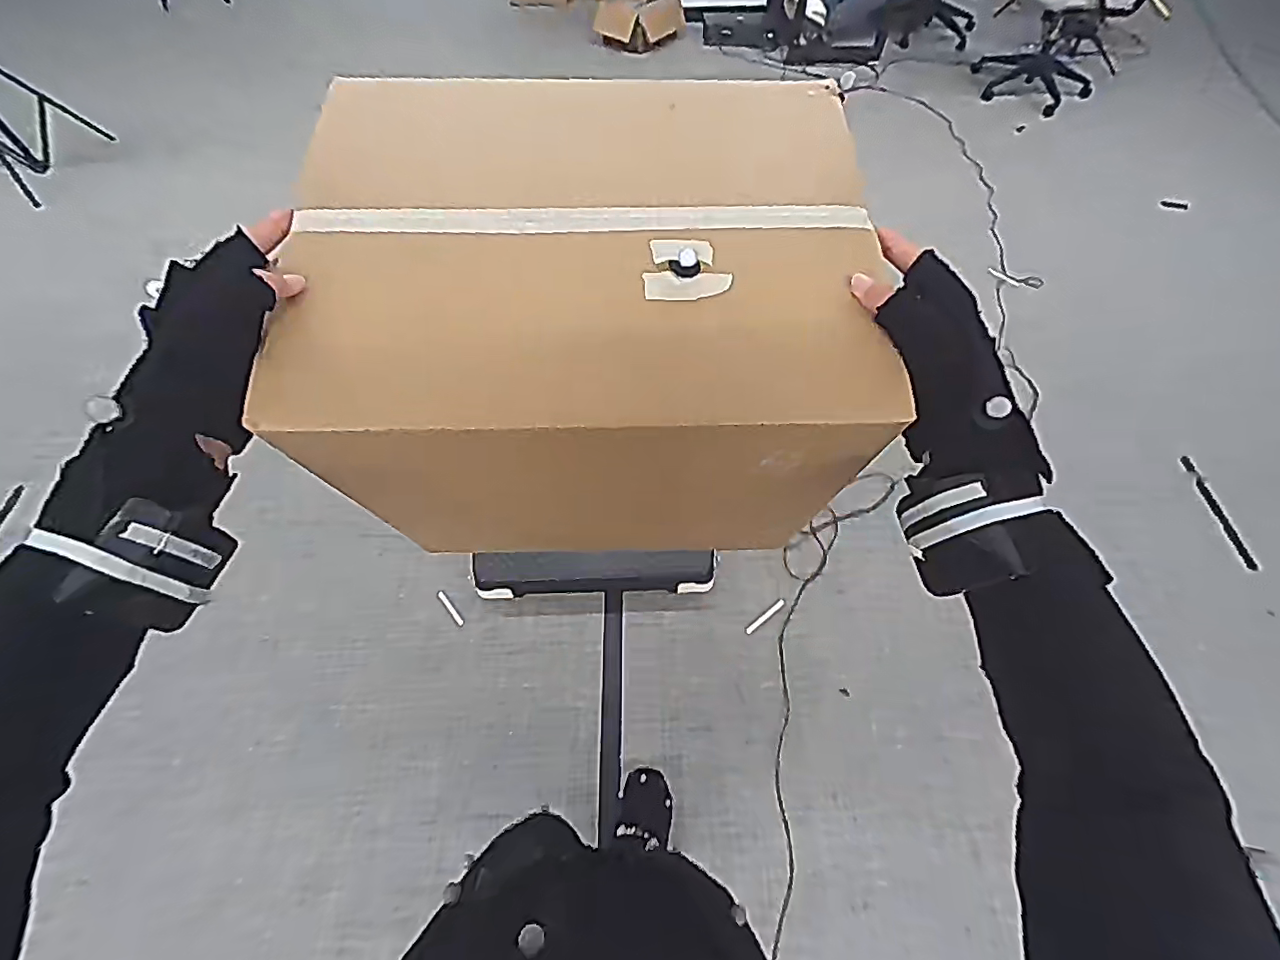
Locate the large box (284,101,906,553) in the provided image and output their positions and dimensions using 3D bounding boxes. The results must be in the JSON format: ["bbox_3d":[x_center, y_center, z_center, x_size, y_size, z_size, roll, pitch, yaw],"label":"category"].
[{"bbox_3d":[-0.035,-0.120,0.534,0.408,0.320,0.320,-1,69,-3],"label":"large box"}]
